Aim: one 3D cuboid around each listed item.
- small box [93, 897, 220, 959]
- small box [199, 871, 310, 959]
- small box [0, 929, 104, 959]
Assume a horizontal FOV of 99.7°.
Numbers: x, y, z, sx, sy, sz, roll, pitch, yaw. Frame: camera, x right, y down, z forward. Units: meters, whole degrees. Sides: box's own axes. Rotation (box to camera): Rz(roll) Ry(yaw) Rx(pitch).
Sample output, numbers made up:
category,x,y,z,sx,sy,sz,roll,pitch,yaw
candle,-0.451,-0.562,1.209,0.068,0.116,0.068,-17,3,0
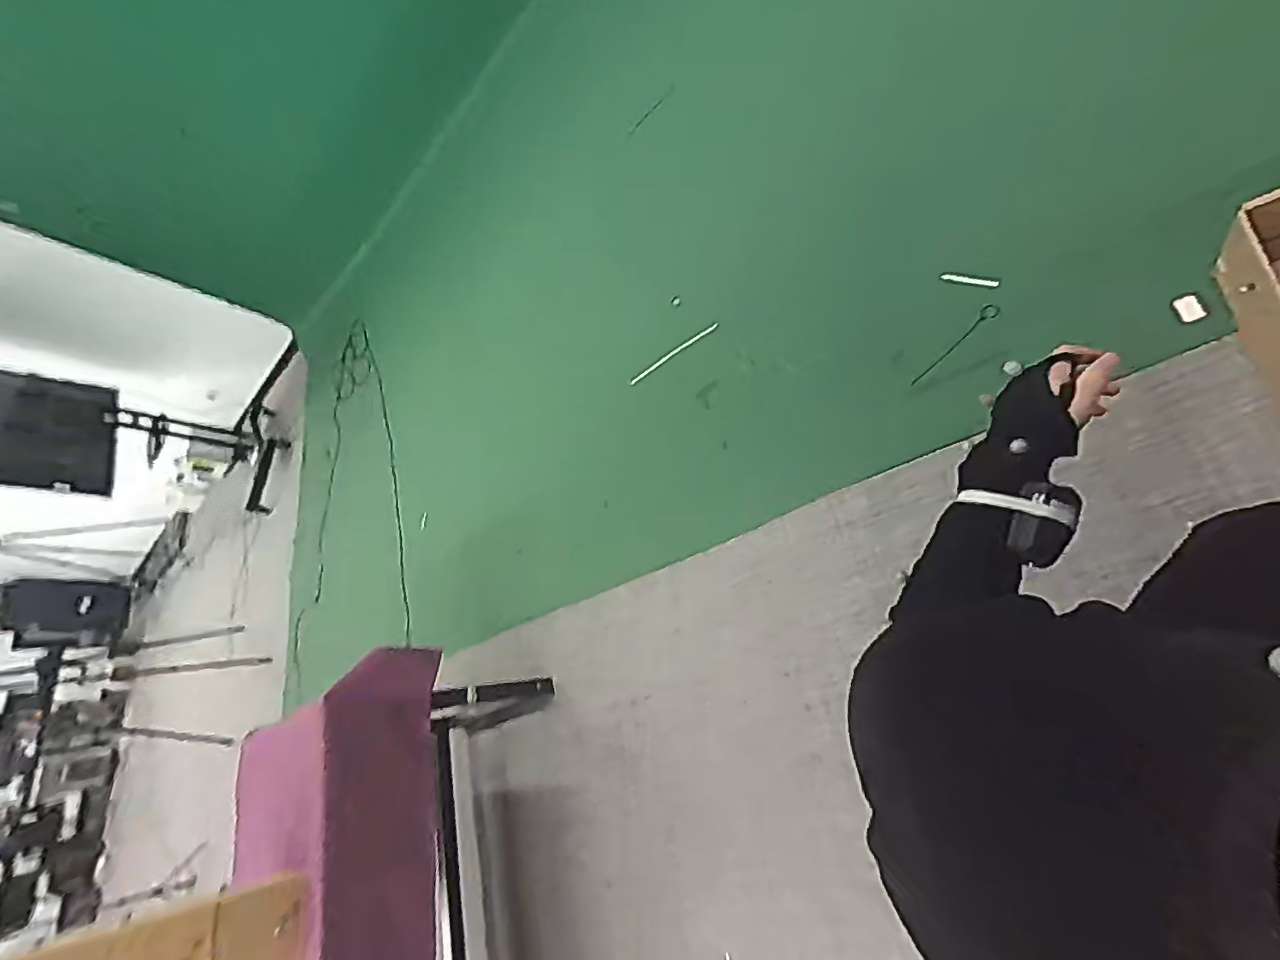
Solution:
category,x,y,z,sx,sy,sz,roll,pitch,yaw
small box,-0.942,0.932,1.040,0.179,0.176,0.168,-28,61,33
small box,-0.835,0.965,1.158,0.179,0.176,0.168,-29,62,33
small box,-1.048,0.902,0.918,0.168,0.176,0.179,-27,62,34
